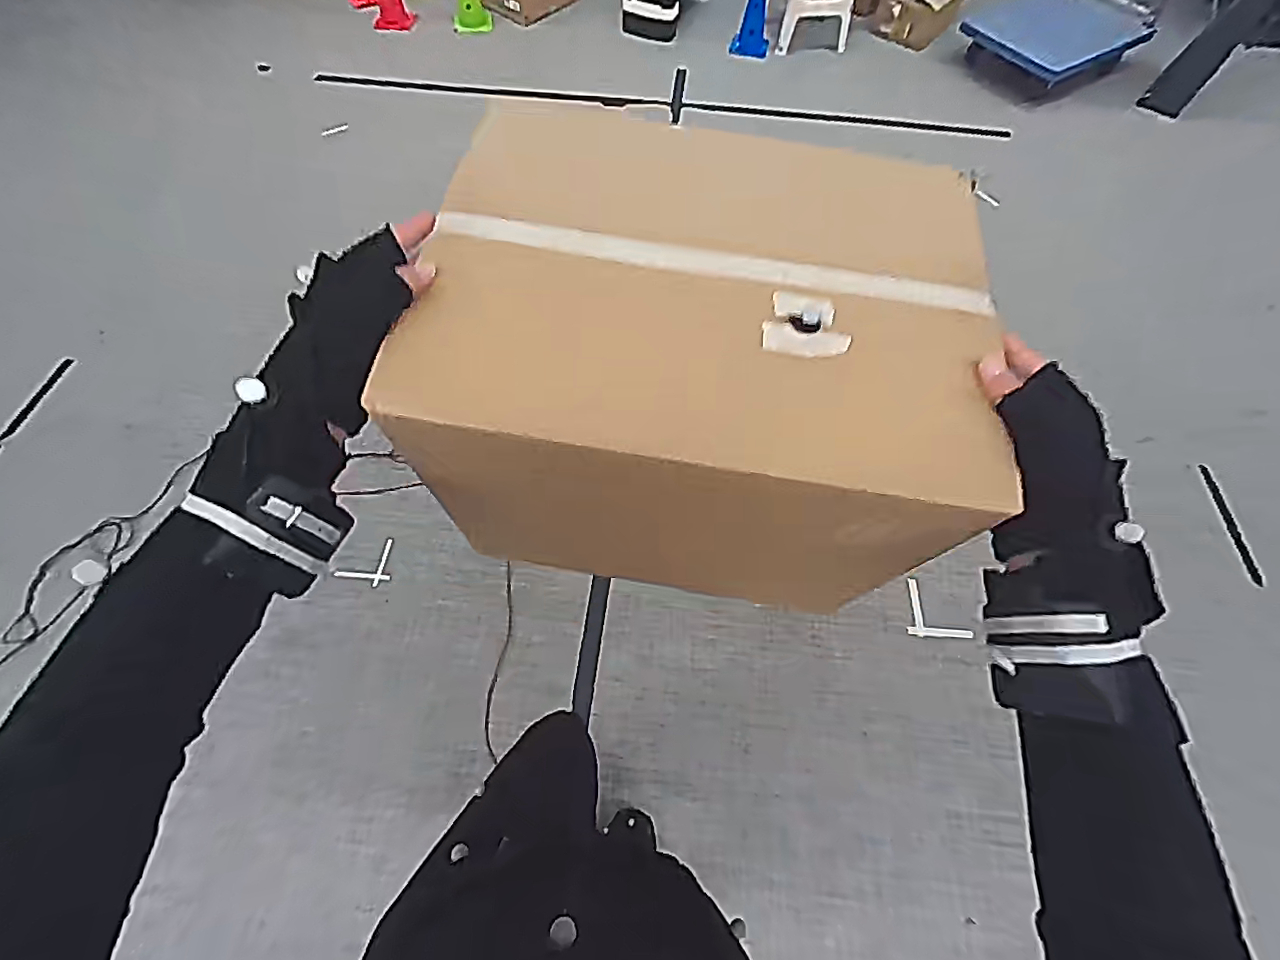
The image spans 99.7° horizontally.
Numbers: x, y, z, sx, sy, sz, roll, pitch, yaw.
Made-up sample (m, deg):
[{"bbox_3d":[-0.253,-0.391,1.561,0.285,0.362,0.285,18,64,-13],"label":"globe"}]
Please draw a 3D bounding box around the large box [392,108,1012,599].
[{"bbox_3d":[0.048,-0.091,0.533,0.408,0.320,0.320,10,66,0],"label":"large box"}]
